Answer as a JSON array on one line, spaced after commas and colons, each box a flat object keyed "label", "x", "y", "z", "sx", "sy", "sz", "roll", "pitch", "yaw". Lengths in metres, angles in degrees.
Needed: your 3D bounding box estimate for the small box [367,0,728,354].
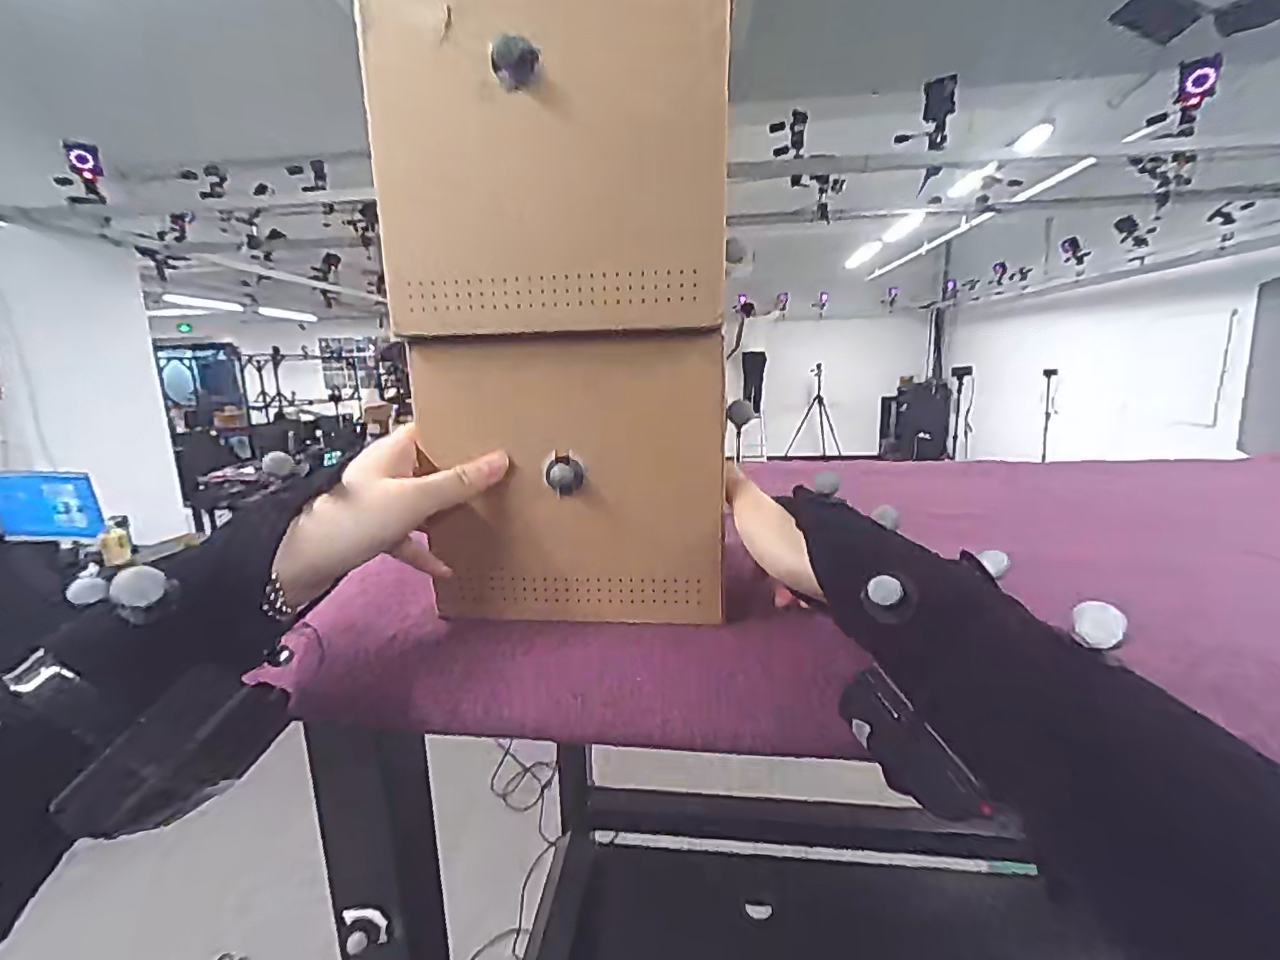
[{"label": "small box", "x": -0.036, "y": -0.170, "z": 0.340, "sx": 0.179, "sy": 0.176, "sz": 0.168, "roll": 1, "pitch": 12, "yaw": 6}]
